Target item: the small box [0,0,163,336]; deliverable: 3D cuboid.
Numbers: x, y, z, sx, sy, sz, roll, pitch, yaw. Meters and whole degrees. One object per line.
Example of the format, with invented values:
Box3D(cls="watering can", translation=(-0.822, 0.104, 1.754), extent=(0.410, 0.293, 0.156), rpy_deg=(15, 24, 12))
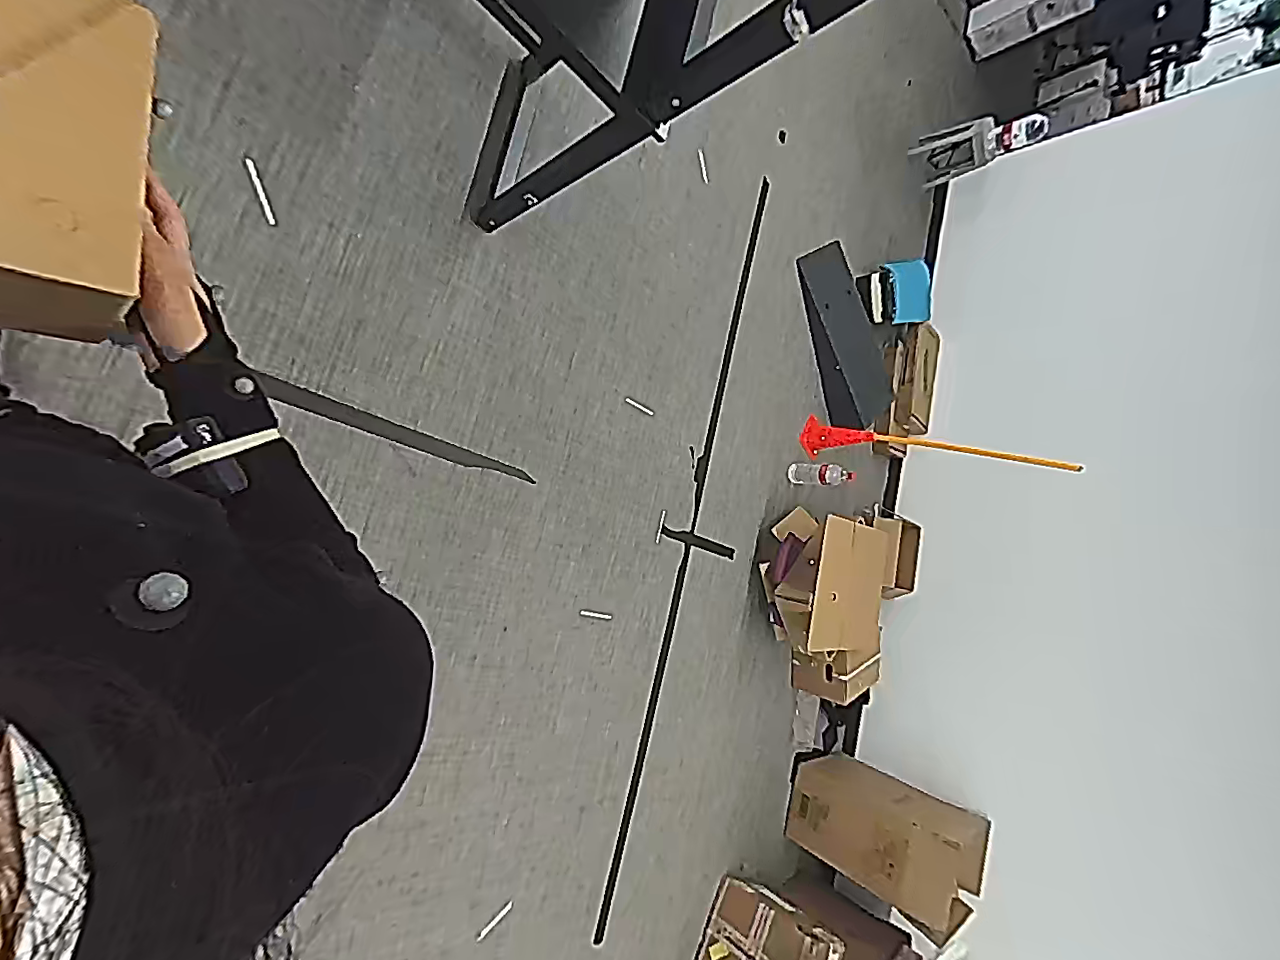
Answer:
Box3D(cls="small box", translation=(-0.401, -0.196, 0.309), extent=(0.168, 0.176, 0.179), rpy_deg=(4, 85, -50))
